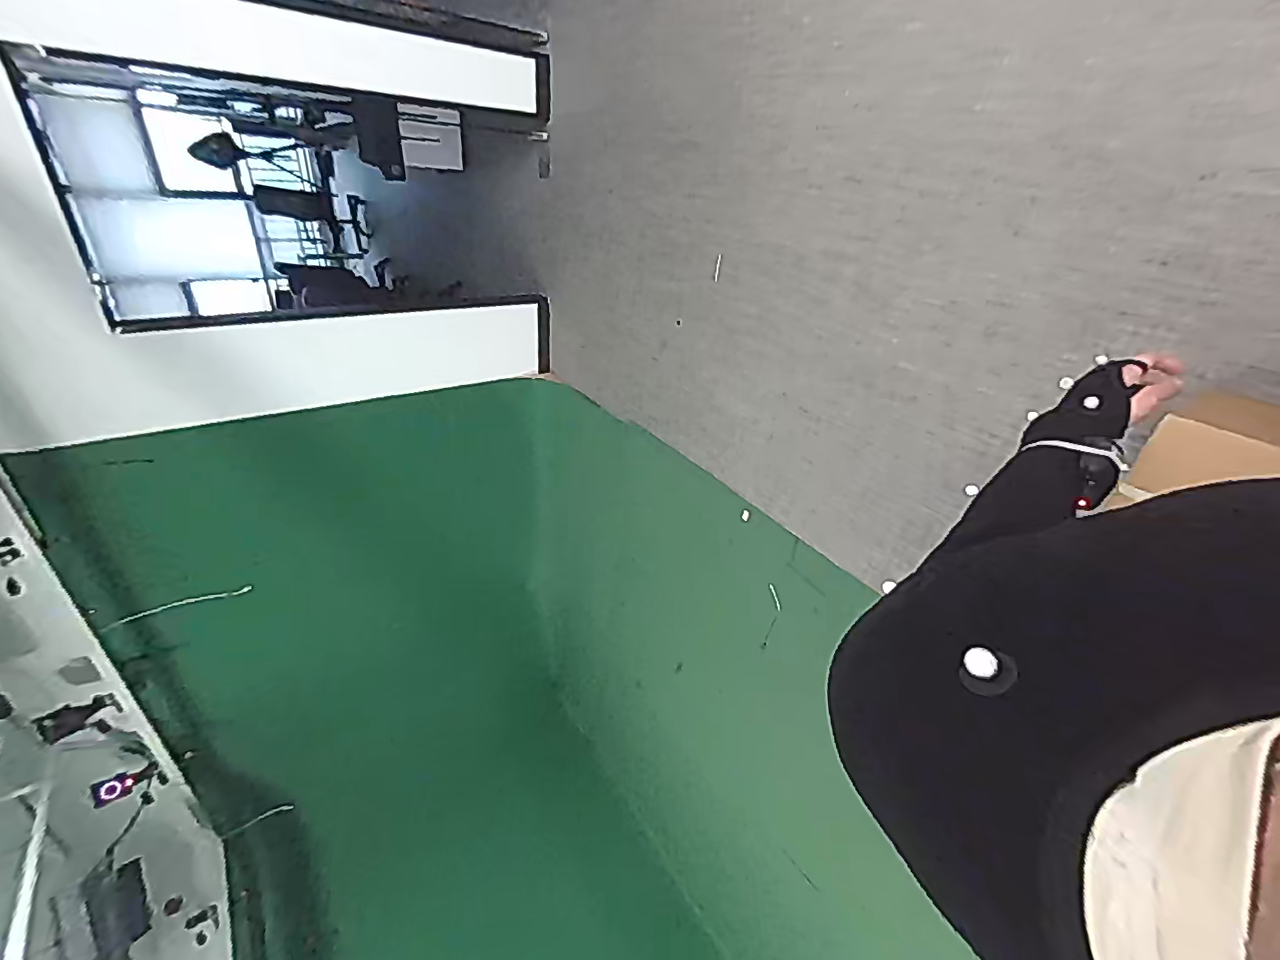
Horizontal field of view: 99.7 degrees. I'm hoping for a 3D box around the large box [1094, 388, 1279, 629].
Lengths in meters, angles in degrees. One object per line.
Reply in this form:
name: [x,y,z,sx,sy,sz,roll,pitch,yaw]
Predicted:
large box: [1.193,0.055,0.995,0.408,0.320,0.320,38,133,44]
